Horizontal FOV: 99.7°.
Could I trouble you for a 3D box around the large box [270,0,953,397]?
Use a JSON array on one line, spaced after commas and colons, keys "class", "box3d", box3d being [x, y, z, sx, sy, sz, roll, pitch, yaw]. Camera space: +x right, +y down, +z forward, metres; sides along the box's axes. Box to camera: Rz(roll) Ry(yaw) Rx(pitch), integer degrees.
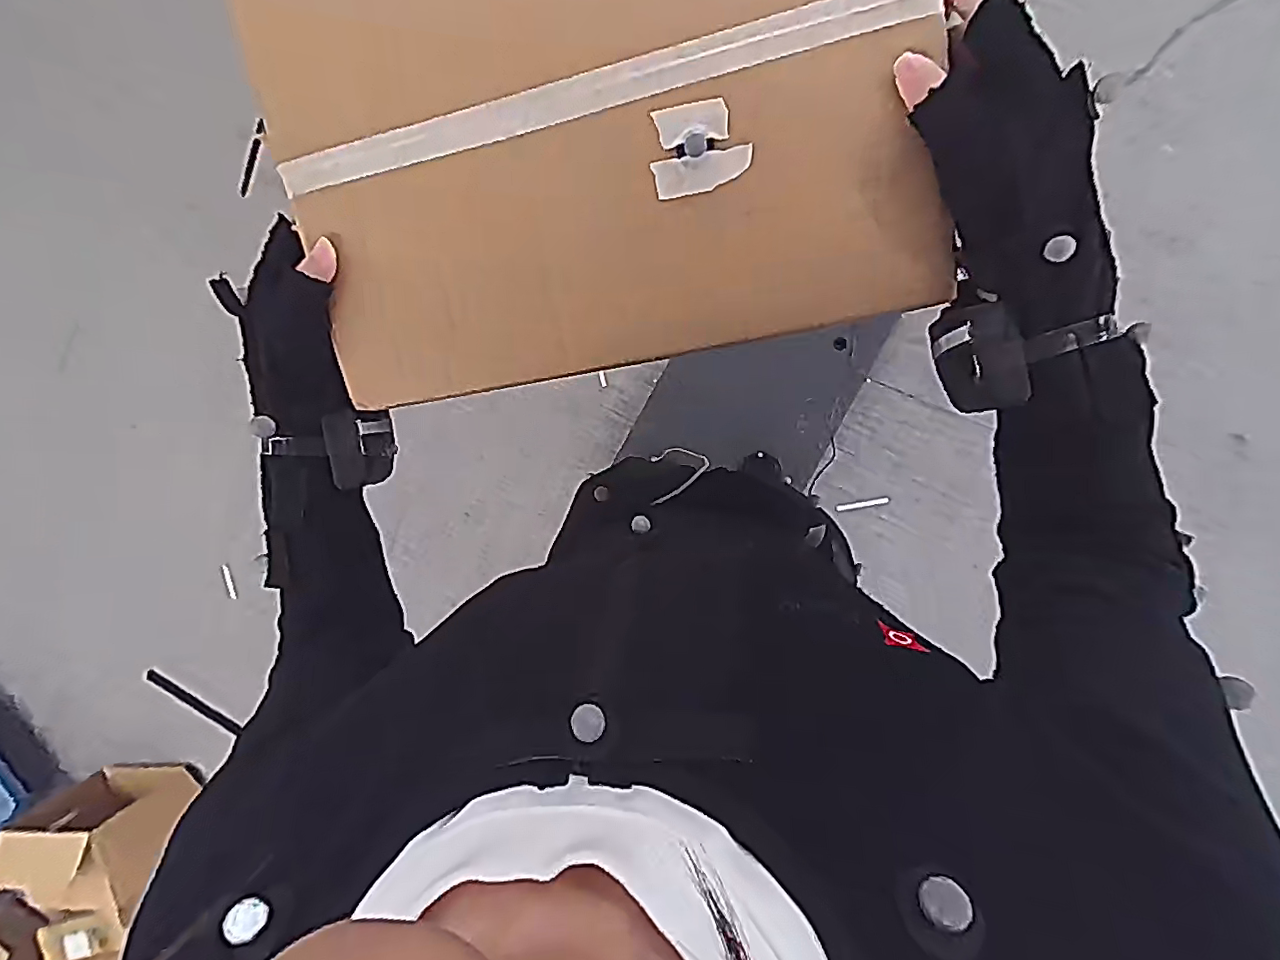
[{"class": "large box", "box3d": [-0.008, -0.272, 0.479, 0.408, 0.320, 0.320, -8, 103, 10]}]
